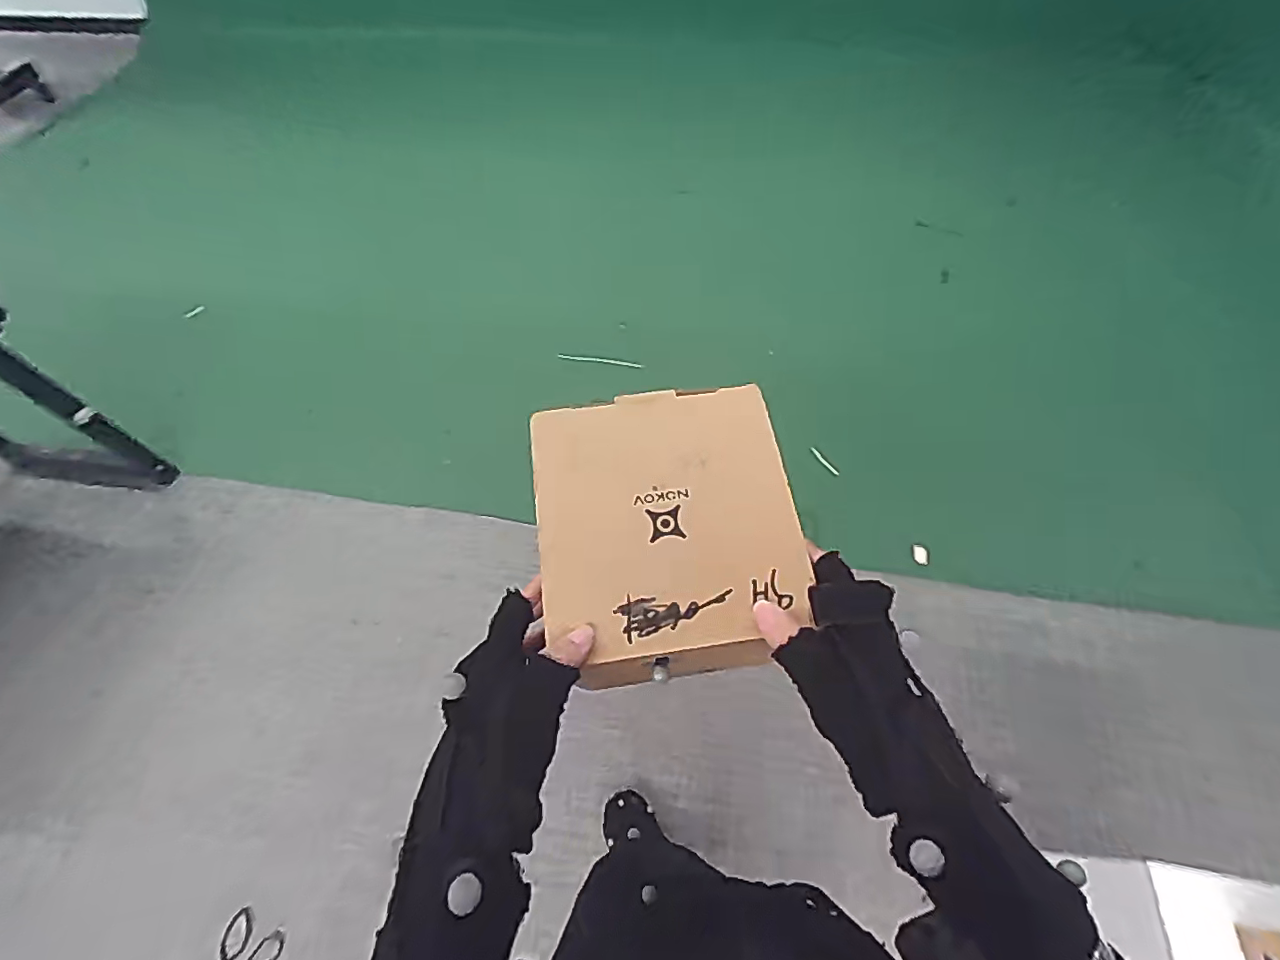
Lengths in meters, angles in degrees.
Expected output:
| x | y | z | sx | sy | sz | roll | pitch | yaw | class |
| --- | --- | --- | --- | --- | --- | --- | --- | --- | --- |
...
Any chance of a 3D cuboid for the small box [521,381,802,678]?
| x | y | z | sx | sy | sz | roll | pitch | yaw | class |
| --- | --- | --- | --- | --- | --- | --- | --- | --- | --- |
| 0.007 | 0.049 | 0.427 | 0.168 | 0.176 | 0.179 | -8 | 66 | -2 | small box |
